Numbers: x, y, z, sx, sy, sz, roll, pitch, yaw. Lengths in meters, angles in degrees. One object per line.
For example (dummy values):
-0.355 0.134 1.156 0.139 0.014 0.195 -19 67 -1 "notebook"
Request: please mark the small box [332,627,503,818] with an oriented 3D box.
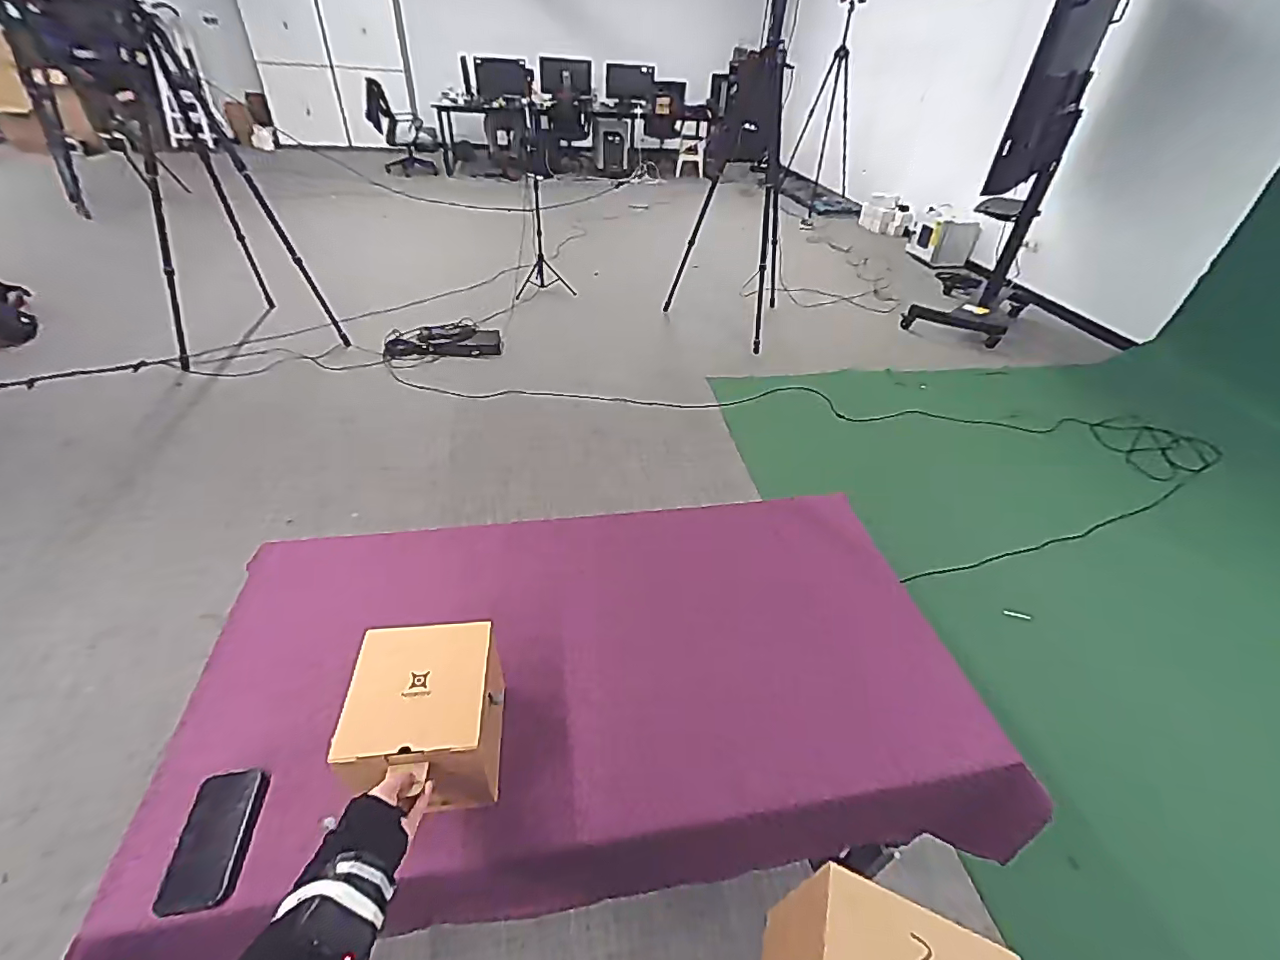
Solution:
-0.281 0.323 0.730 0.168 0.176 0.179 -2 40 -7 "small box"
